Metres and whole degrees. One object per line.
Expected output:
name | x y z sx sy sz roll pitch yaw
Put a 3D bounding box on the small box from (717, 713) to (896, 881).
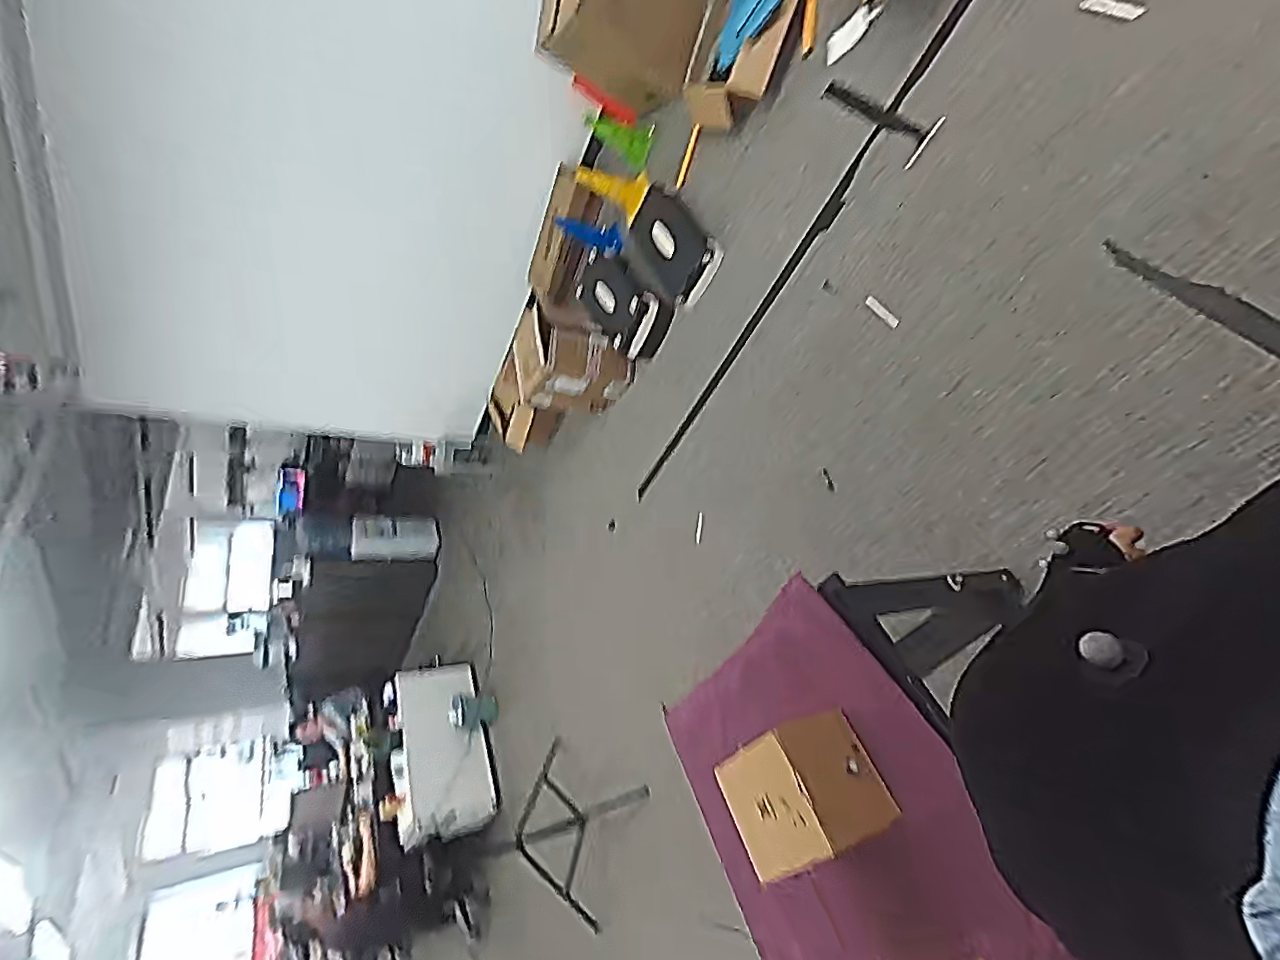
small box | 0.260 0.496 0.859 0.179 0.176 0.168 -57 45 36
